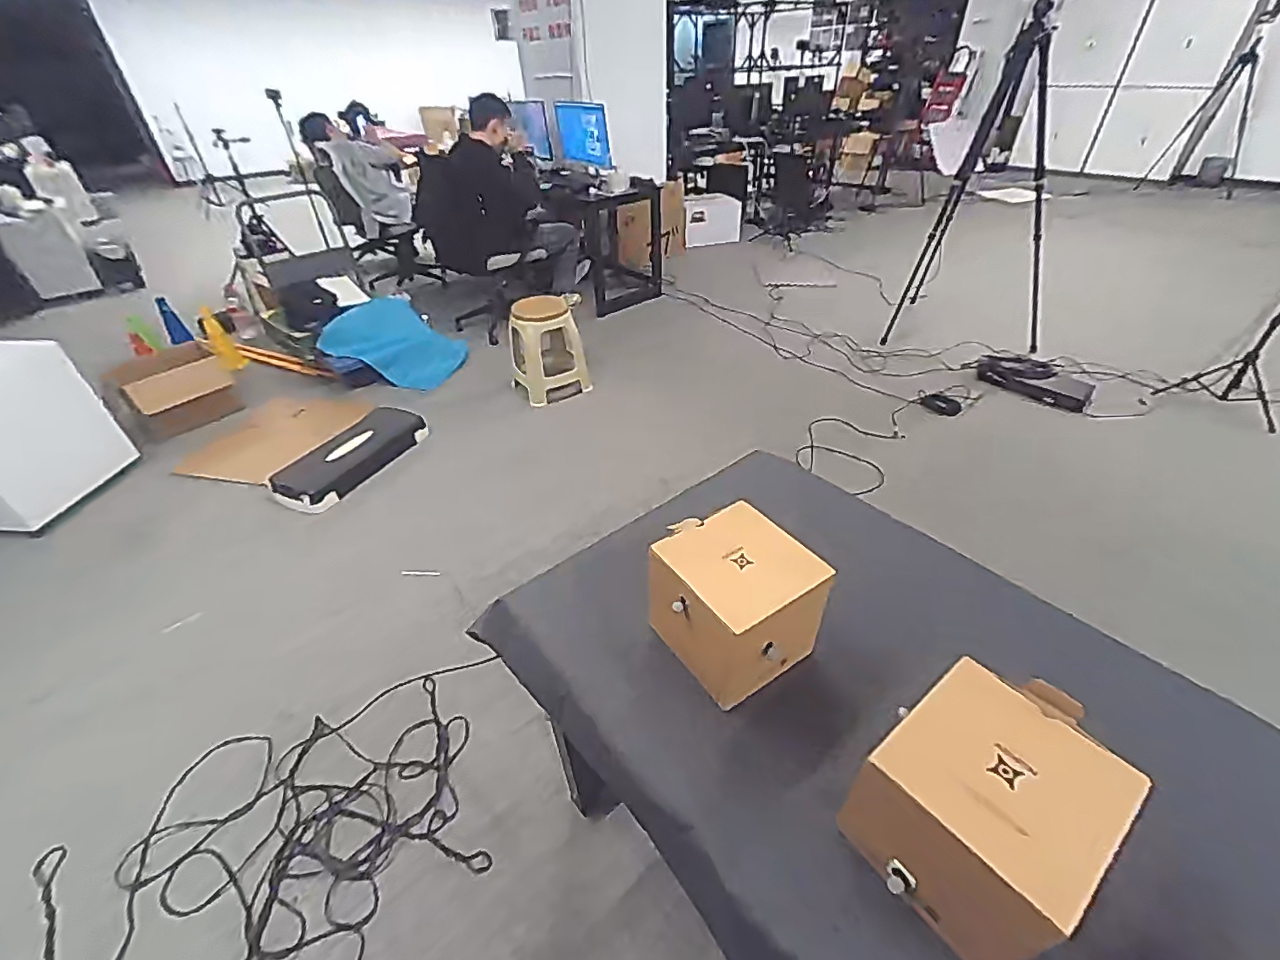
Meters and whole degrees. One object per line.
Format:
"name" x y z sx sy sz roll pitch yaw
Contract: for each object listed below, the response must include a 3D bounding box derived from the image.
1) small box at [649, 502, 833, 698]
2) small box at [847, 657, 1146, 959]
"small box" 0.128 0.166 0.738 0.168 0.176 0.179 -23 42 -26
"small box" 0.328 0.320 0.529 0.179 0.176 0.168 -28 43 -29
